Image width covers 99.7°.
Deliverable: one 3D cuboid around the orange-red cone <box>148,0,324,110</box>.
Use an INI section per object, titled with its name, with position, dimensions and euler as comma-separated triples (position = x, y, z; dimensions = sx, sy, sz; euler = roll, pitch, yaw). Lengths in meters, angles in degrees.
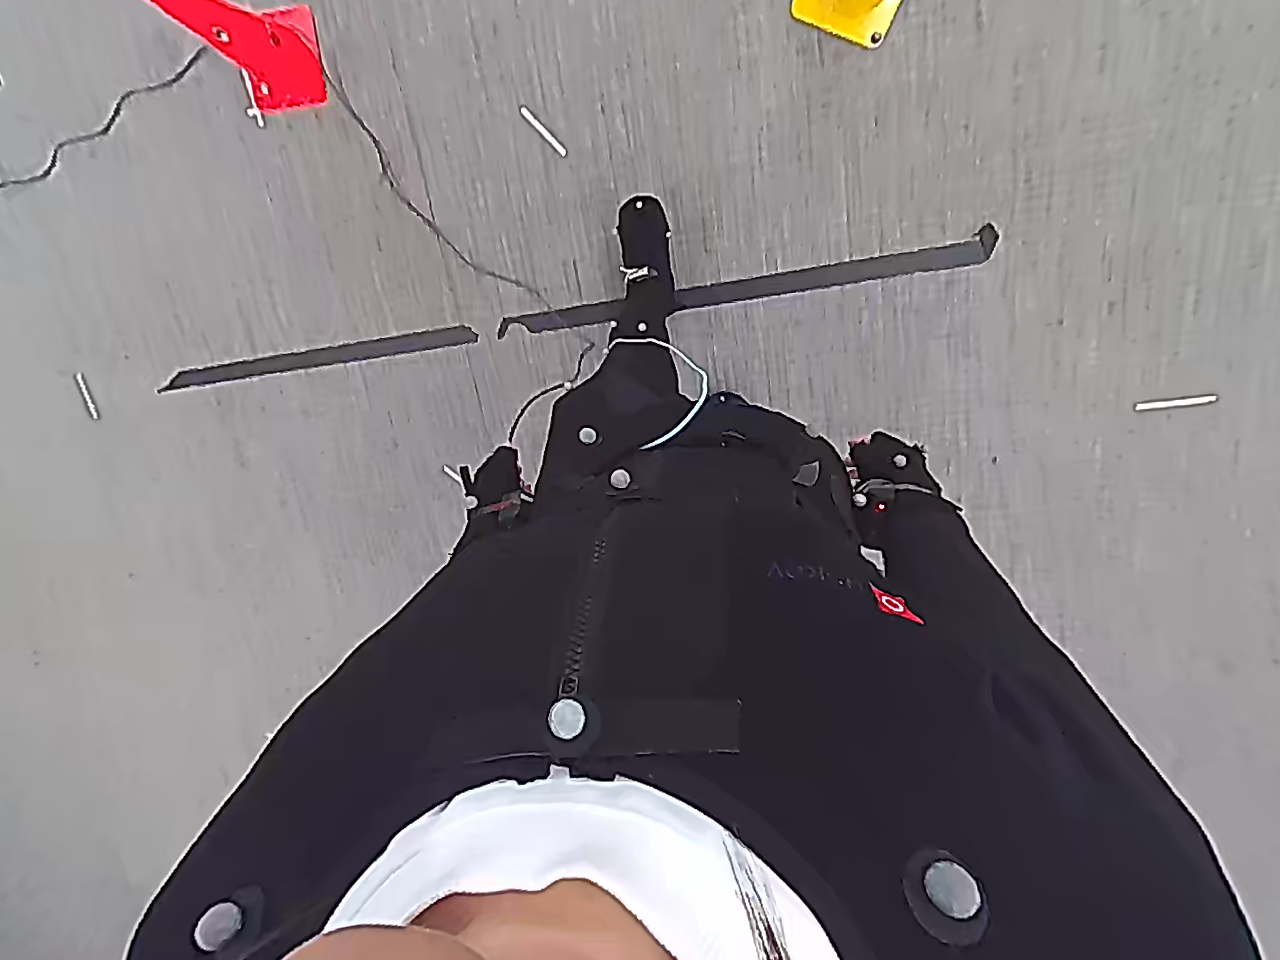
[orange-red cone]
position = -0.878, -0.949, 1.124
dimensions = 0.199, 0.360, 0.198
euler = 1, 107, 8
